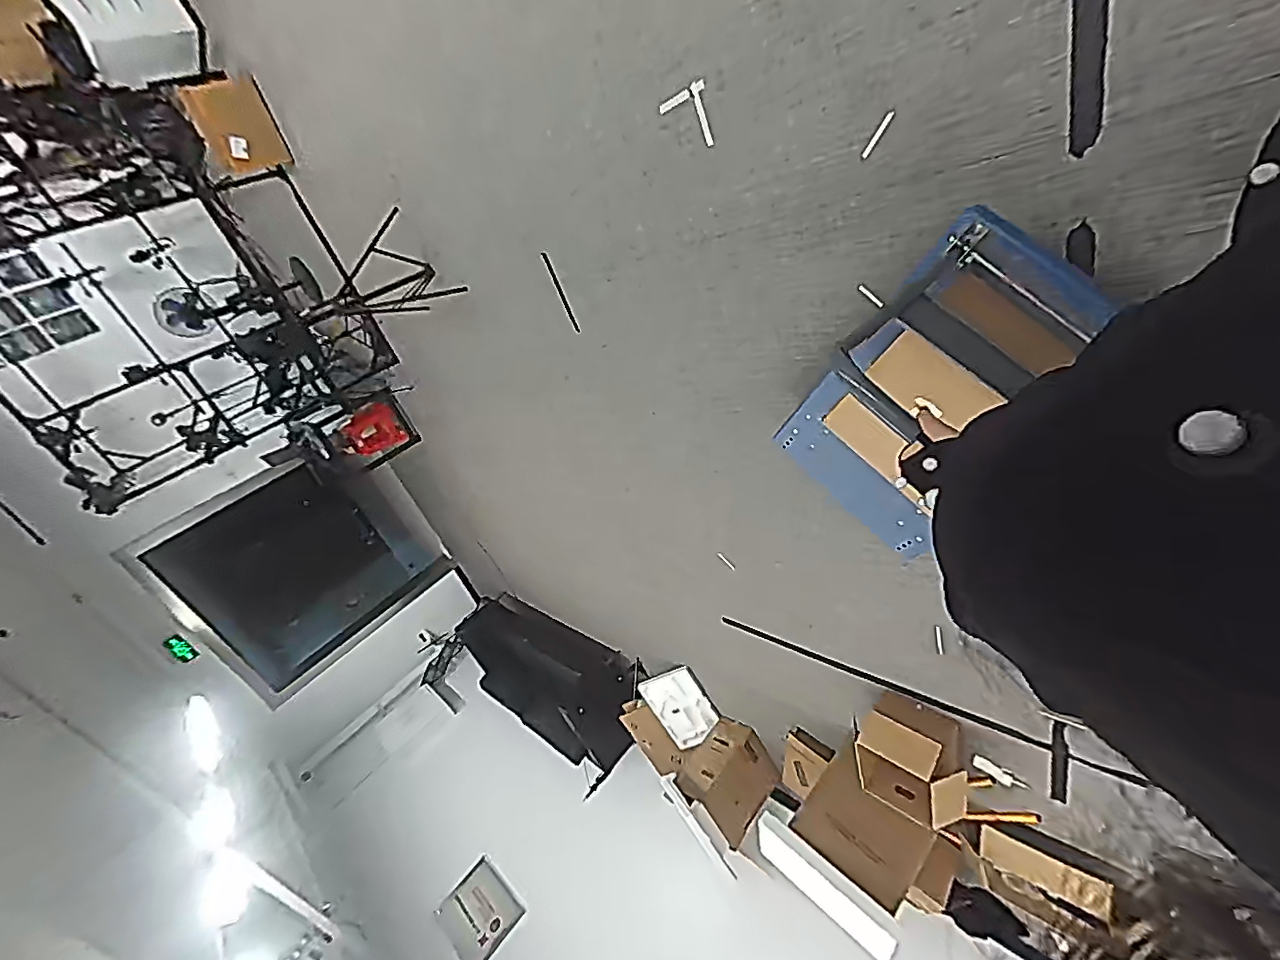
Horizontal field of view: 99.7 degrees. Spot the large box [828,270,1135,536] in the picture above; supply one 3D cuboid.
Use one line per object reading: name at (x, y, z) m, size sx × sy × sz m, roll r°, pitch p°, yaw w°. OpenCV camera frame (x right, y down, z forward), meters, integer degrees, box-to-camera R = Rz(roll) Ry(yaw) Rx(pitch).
large box at (0.707, -0.162, 1.155) m, size 0.408 × 0.320 × 0.320 m, roll 44°, pitch 148°, yaw 11°
